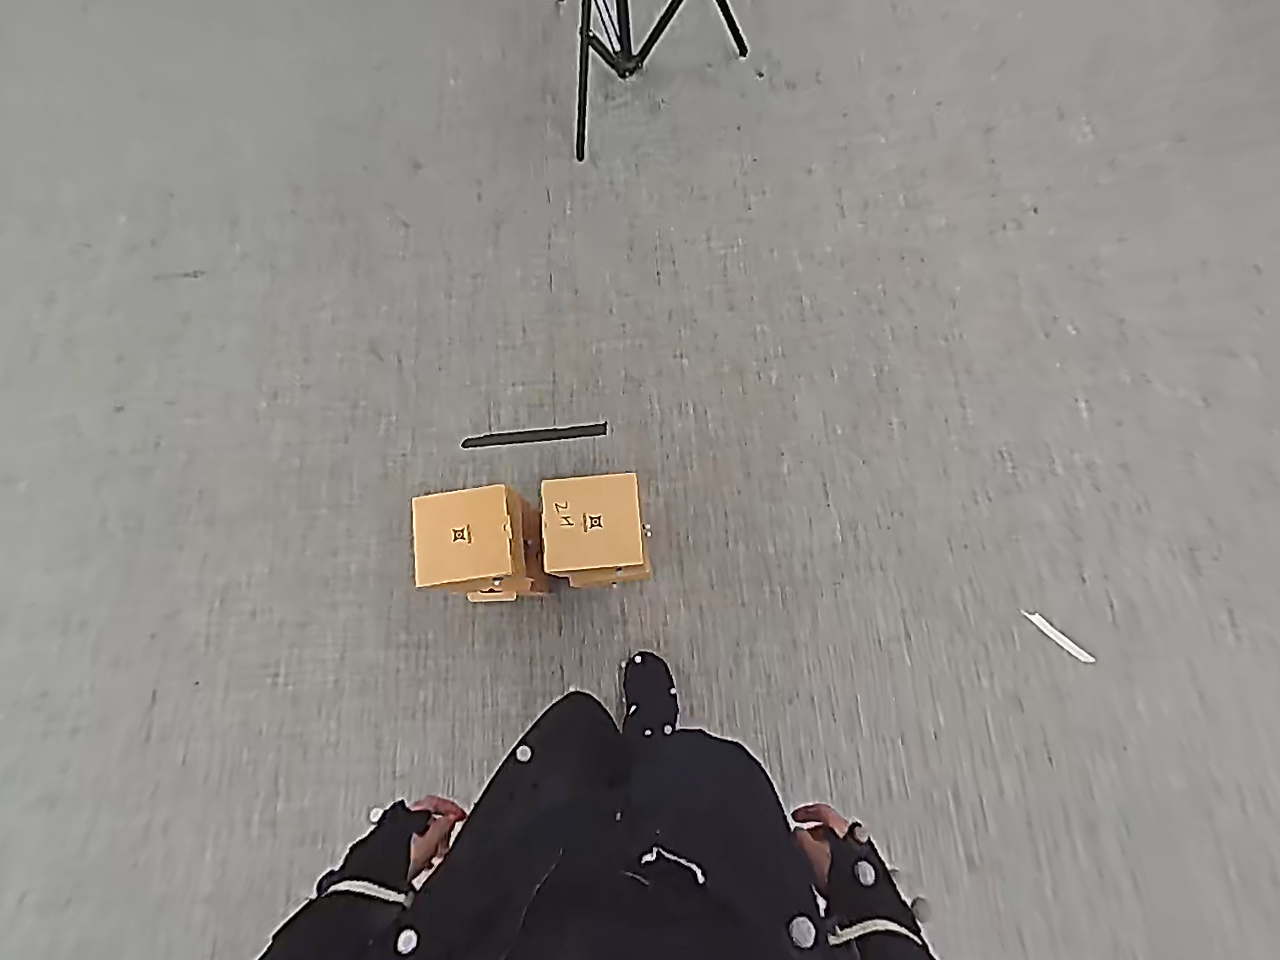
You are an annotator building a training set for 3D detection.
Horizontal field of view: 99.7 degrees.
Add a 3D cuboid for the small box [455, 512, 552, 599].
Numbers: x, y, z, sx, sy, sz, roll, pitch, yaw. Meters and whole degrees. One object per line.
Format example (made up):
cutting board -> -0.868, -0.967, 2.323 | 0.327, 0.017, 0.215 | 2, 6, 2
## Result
small box -> -0.293, 0.172, 1.192 | 0.168, 0.176, 0.179 | -2, 75, 3
